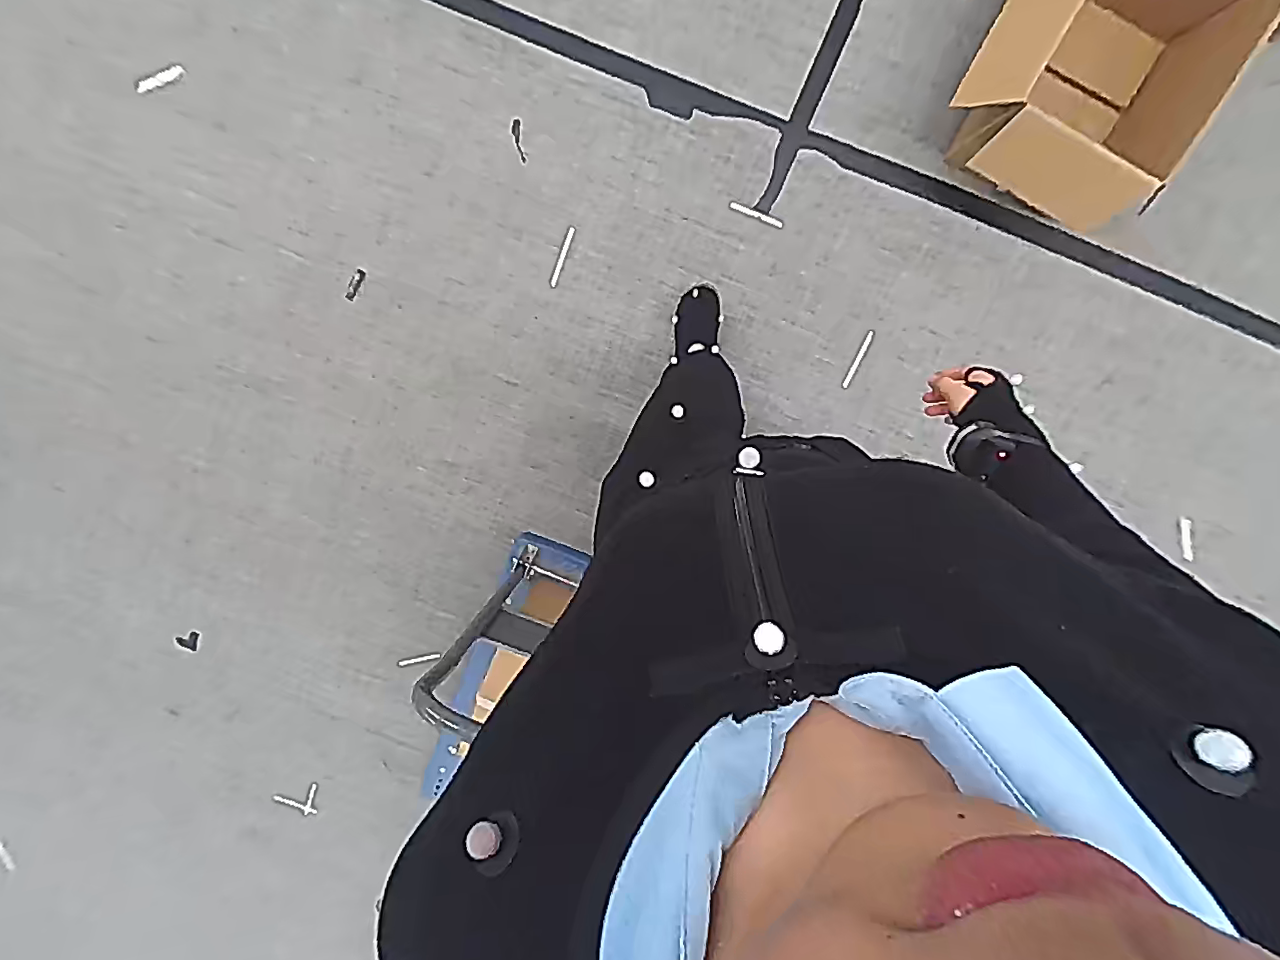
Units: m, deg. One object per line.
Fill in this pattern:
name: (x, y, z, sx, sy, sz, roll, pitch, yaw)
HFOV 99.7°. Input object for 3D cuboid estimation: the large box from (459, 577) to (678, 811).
large box: (-0.149, 0.493, 1.303, 0.408, 0.320, 0.320, 23, 103, -1)
